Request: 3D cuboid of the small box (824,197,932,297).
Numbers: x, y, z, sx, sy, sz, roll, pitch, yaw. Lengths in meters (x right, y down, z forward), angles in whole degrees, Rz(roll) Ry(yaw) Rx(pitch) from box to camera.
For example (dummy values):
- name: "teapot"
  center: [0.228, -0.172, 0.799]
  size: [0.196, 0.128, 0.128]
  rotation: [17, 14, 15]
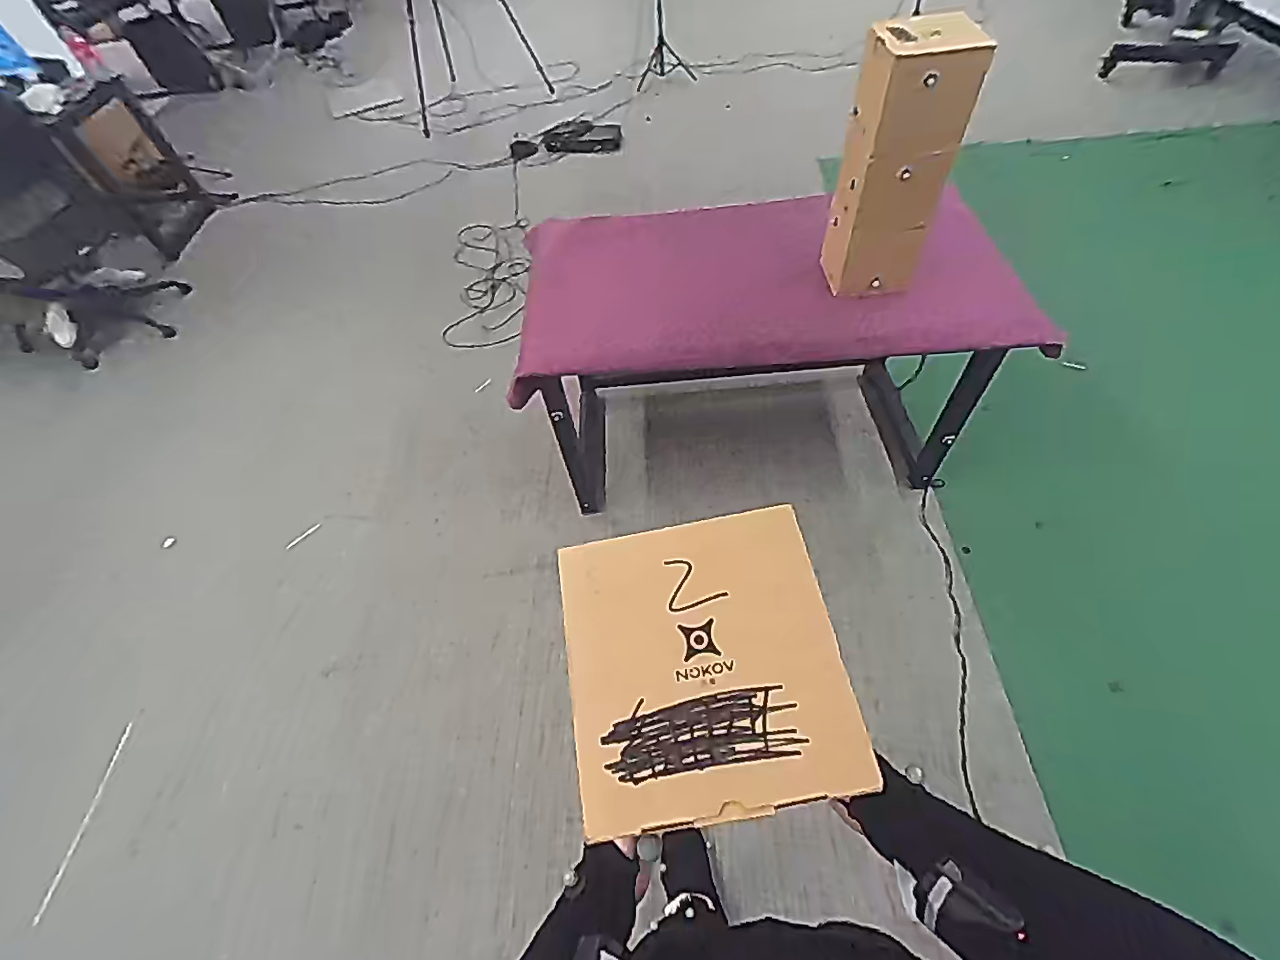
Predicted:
- name: "small box"
  center: [0.560, -0.562, 1.299]
  size: [0.179, 0.176, 0.168]
  rotation: [-4, 55, 3]

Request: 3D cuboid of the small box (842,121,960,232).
- name: "small box"
  center: [0.546, -0.656, 1.165]
  size: [0.179, 0.176, 0.168]
  rotation: [-3, 56, 4]

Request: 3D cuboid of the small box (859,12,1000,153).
- name: "small box"
  center: [0.534, -0.750, 1.032]
  size: [0.179, 0.176, 0.168]
  rotation: [-4, 56, 4]
